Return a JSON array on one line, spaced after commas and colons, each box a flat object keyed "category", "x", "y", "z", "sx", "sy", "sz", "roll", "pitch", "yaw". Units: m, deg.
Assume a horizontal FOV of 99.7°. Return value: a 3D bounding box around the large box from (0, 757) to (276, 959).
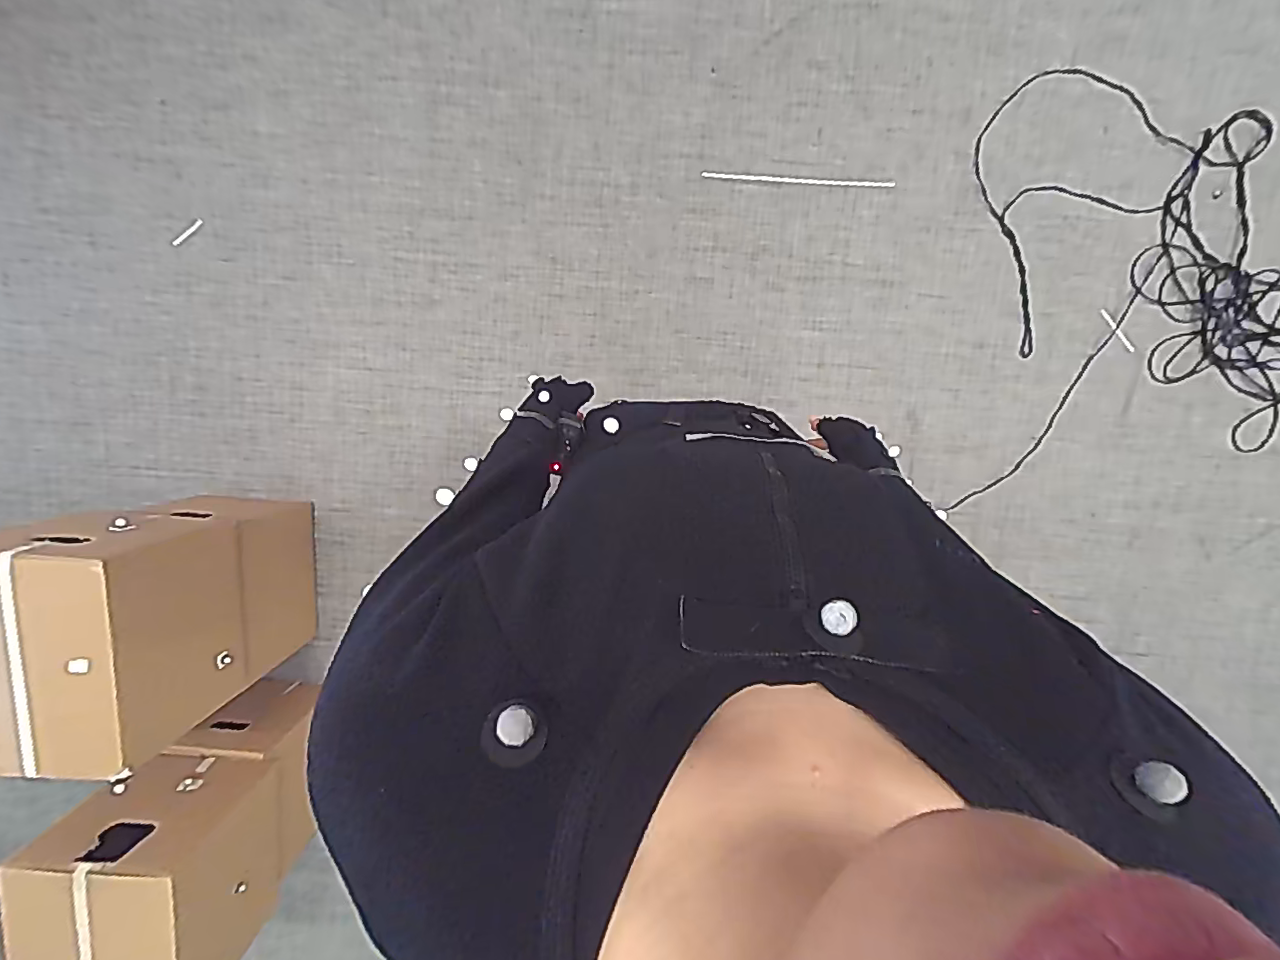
[{"category": "large box", "x": -1.025, "y": 0.867, "z": 1.150, "sx": 0.320, "sy": 0.320, "sz": 0.408, "roll": 6, "pitch": 100, "yaw": -2}]
